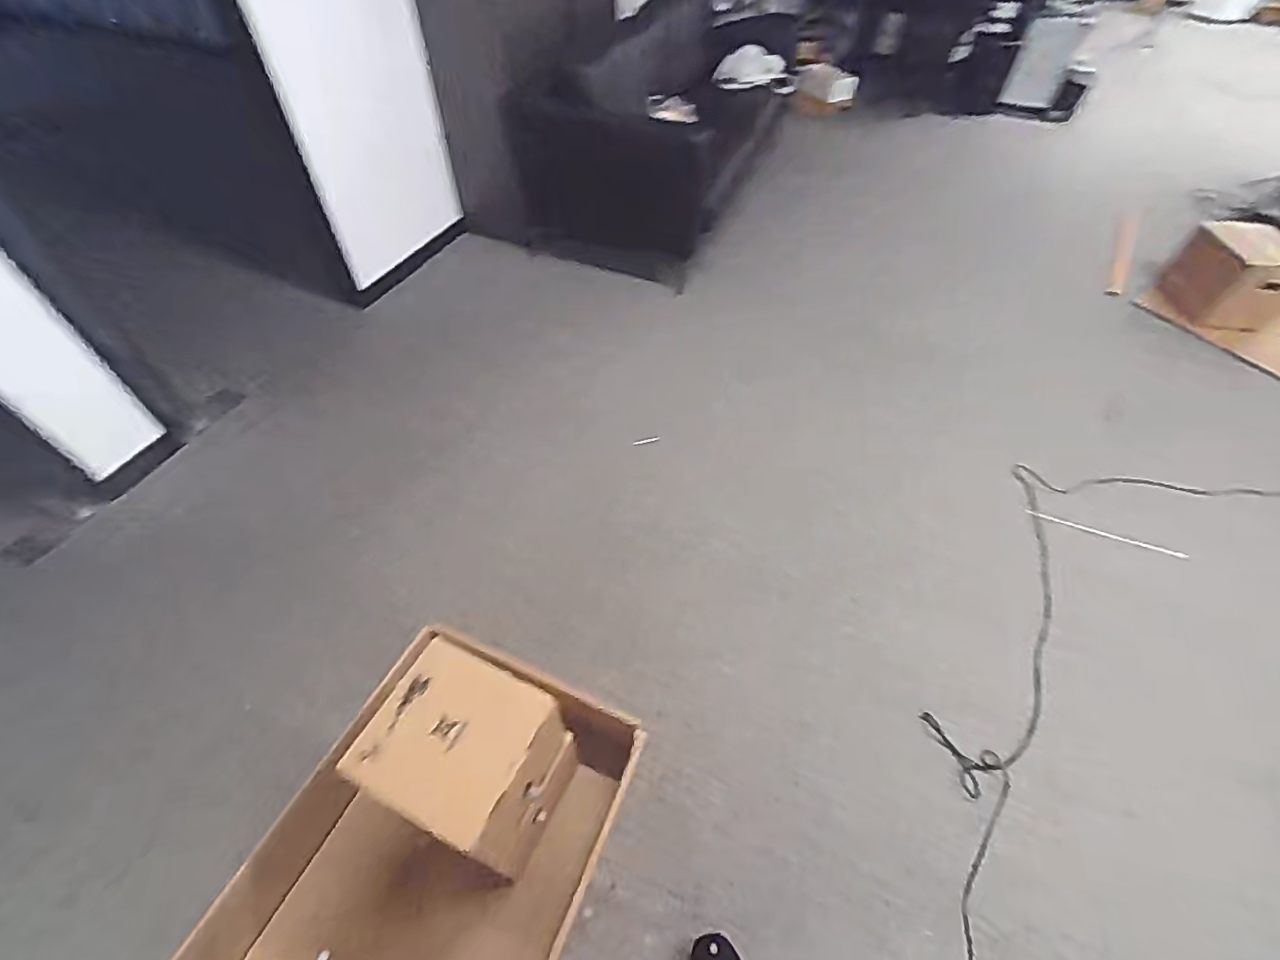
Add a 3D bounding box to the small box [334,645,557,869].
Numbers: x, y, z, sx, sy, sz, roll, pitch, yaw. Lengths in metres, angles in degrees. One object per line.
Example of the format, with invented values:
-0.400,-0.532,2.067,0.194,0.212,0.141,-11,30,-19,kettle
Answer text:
-0.214,0.338,0.654,0.179,0.176,0.168,22,51,15,small box
